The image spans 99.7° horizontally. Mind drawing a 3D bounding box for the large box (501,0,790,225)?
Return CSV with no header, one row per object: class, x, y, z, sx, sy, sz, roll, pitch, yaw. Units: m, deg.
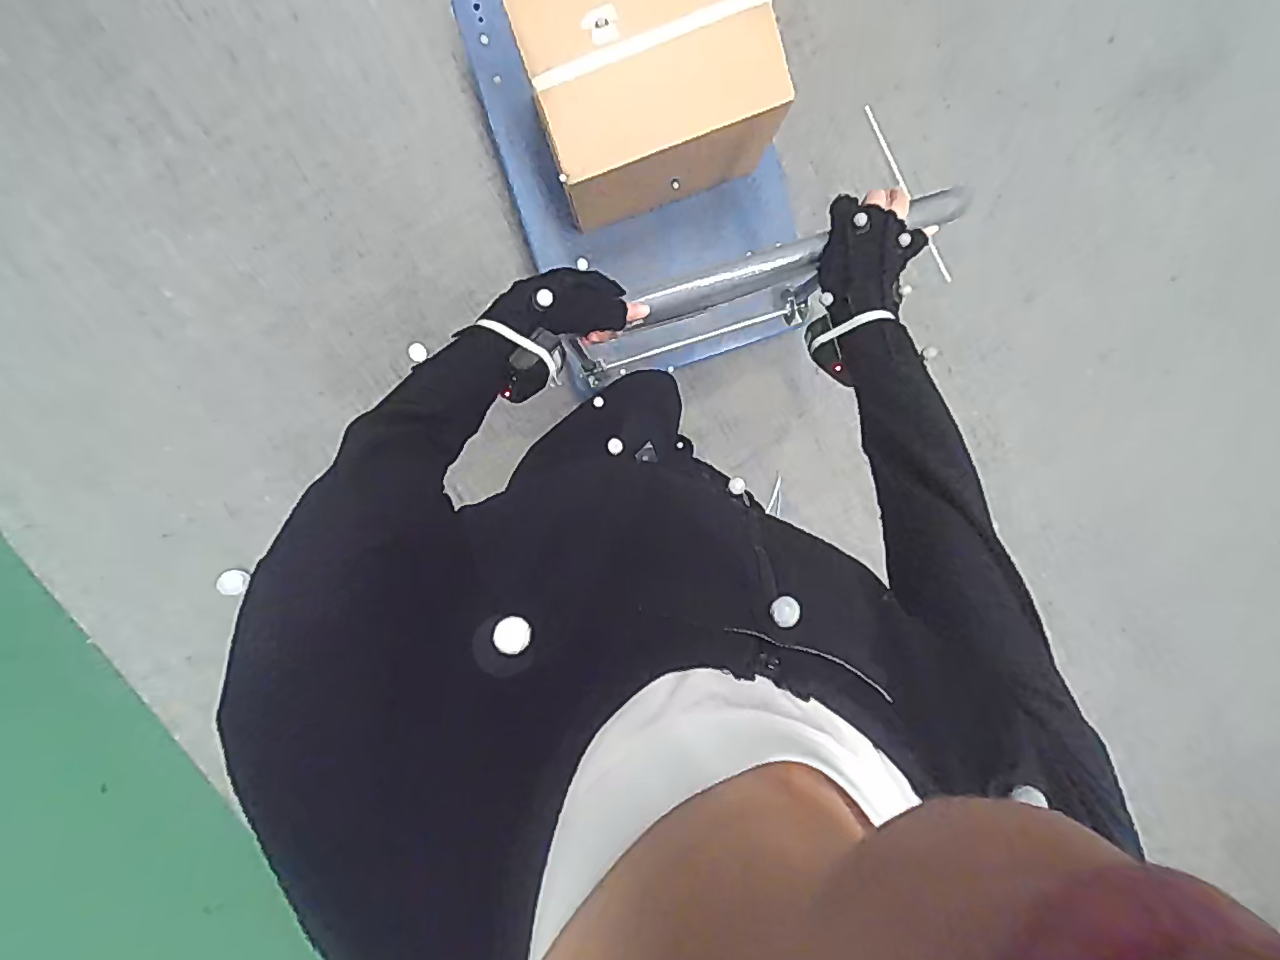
large box,0.010,-0.739,1.016,0.408,0.320,0.320,-20,100,2
